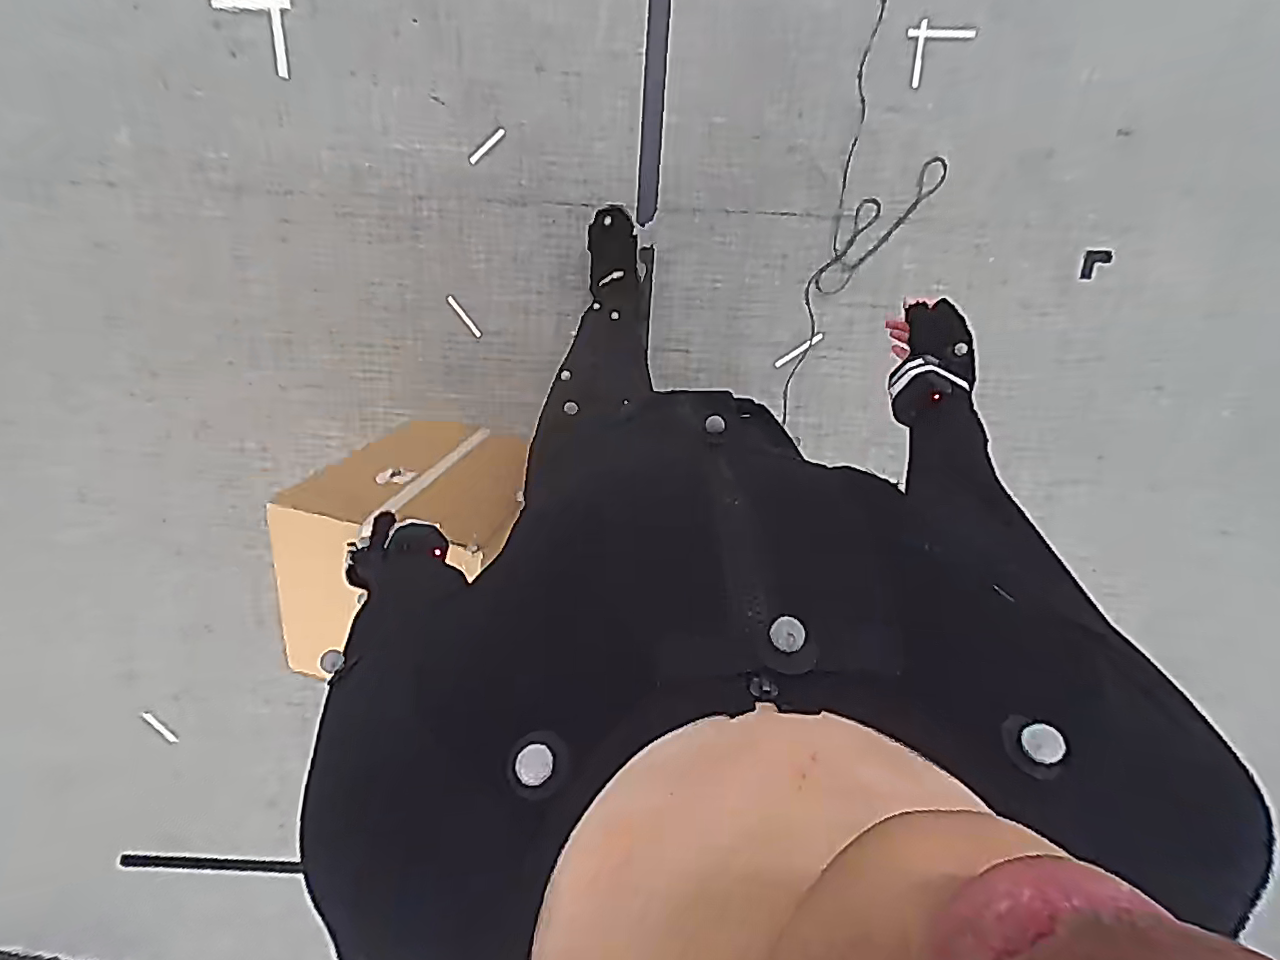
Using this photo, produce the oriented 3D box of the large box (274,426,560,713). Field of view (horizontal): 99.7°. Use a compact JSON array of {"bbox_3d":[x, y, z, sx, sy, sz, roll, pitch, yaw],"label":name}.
[{"bbox_3d":[-0.357,0.130,0.981,0.320,0.408,0.320,10,114,6],"label":"large box"}]
